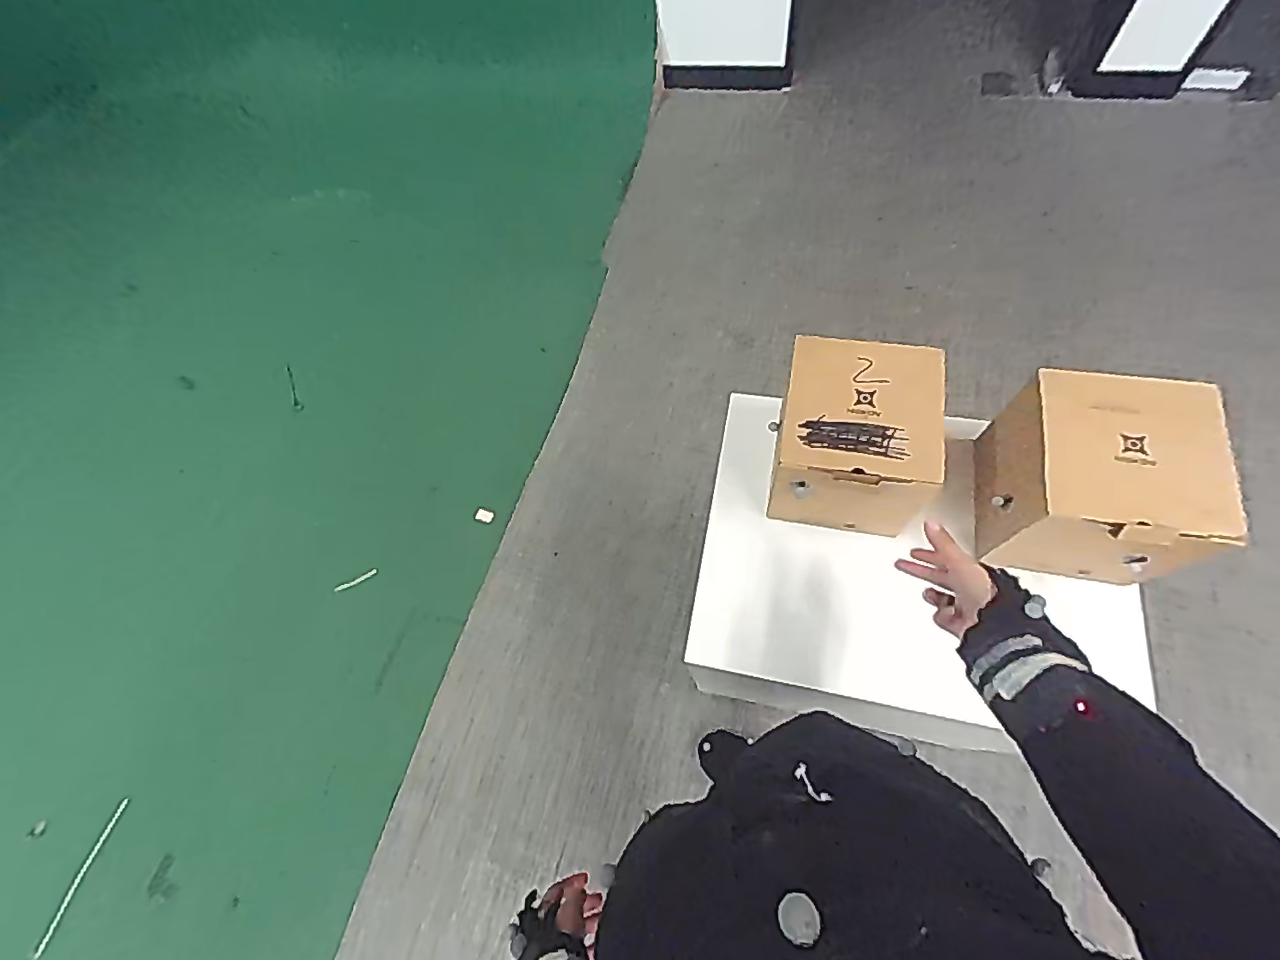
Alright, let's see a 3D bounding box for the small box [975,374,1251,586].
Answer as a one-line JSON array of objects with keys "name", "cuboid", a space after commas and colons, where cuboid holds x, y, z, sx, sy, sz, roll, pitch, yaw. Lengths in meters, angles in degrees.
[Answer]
[{"name": "small box", "cuboid": [0.500, 0.008, 0.606, 0.168, 0.176, 0.179, 9, 66, 11]}]
